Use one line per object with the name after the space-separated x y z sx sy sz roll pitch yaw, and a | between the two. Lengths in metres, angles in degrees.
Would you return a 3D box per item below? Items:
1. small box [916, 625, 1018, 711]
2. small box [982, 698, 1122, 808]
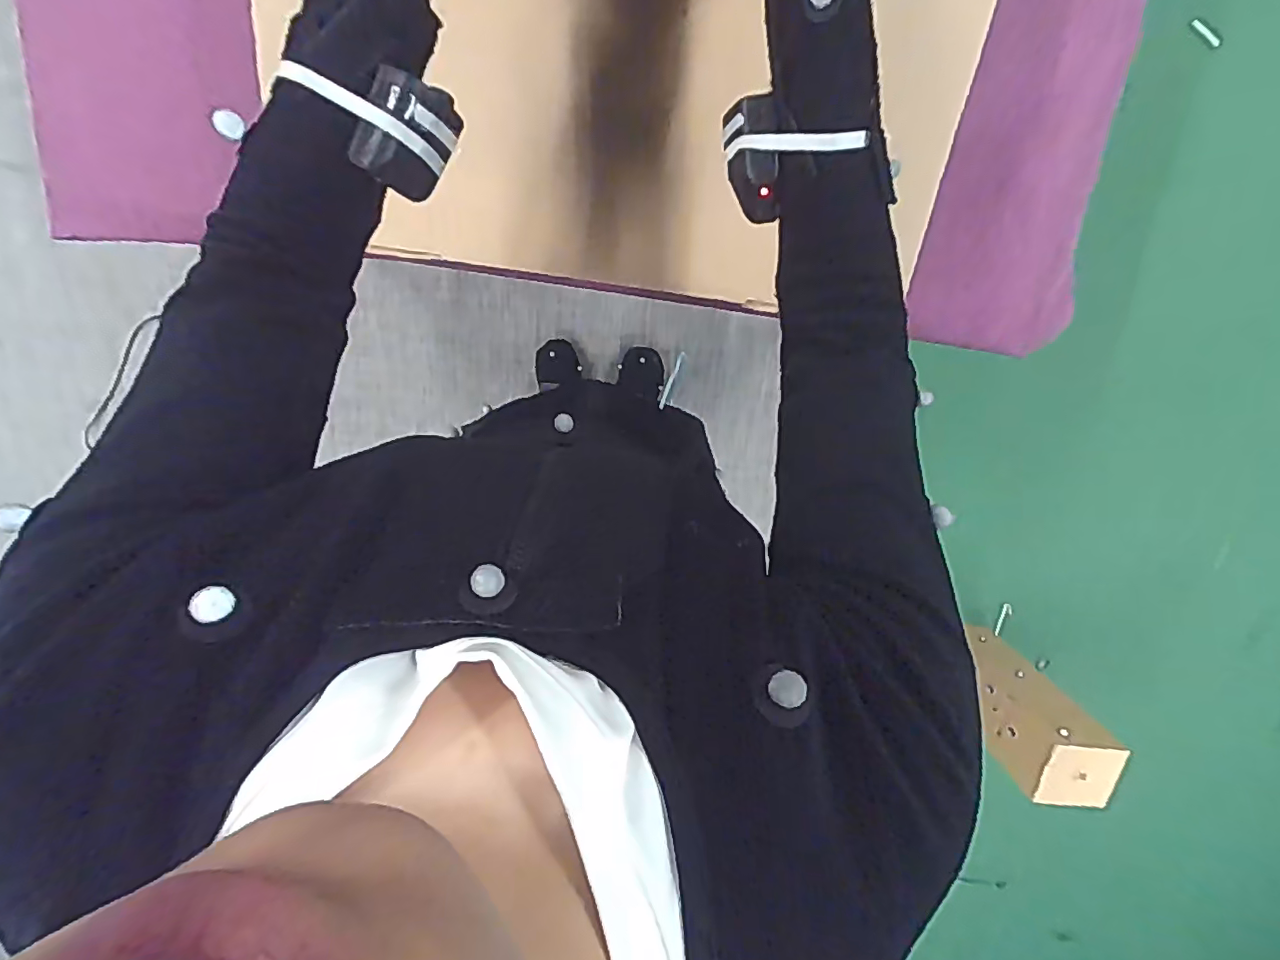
0.956 0.549 1.600 0.179 0.176 0.168 8 107 -4 | small box
0.968 0.643 1.286 0.179 0.176 0.168 6 107 -3 | small box
